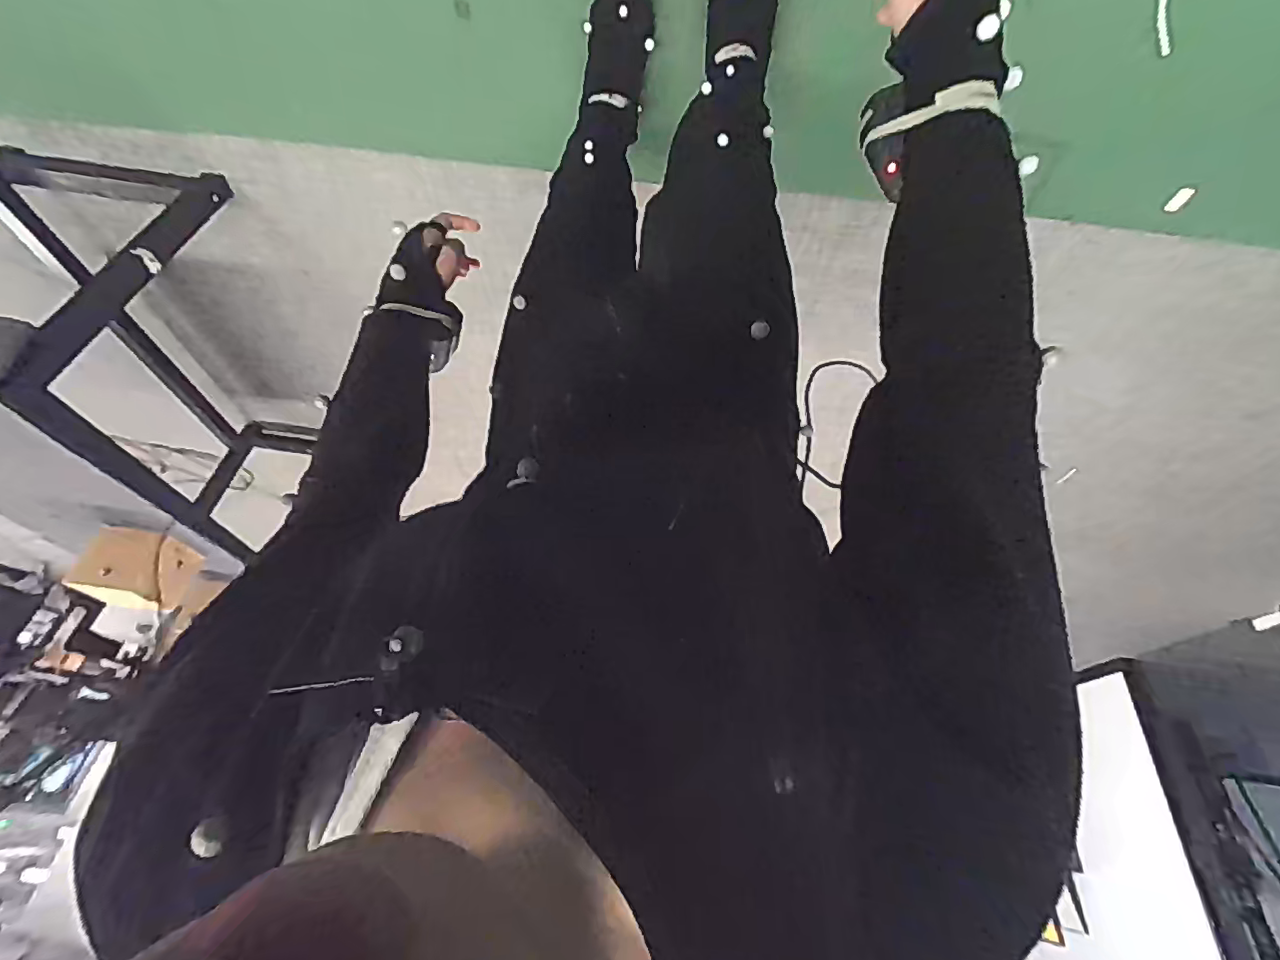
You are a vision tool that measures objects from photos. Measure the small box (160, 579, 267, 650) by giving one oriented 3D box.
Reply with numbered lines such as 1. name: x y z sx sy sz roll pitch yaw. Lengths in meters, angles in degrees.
1. small box: -1.361 0.432 1.740 0.179 0.176 0.168 7 148 2

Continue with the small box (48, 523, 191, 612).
1. small box: -1.356 0.229 1.425 0.179 0.176 0.168 7 148 1
